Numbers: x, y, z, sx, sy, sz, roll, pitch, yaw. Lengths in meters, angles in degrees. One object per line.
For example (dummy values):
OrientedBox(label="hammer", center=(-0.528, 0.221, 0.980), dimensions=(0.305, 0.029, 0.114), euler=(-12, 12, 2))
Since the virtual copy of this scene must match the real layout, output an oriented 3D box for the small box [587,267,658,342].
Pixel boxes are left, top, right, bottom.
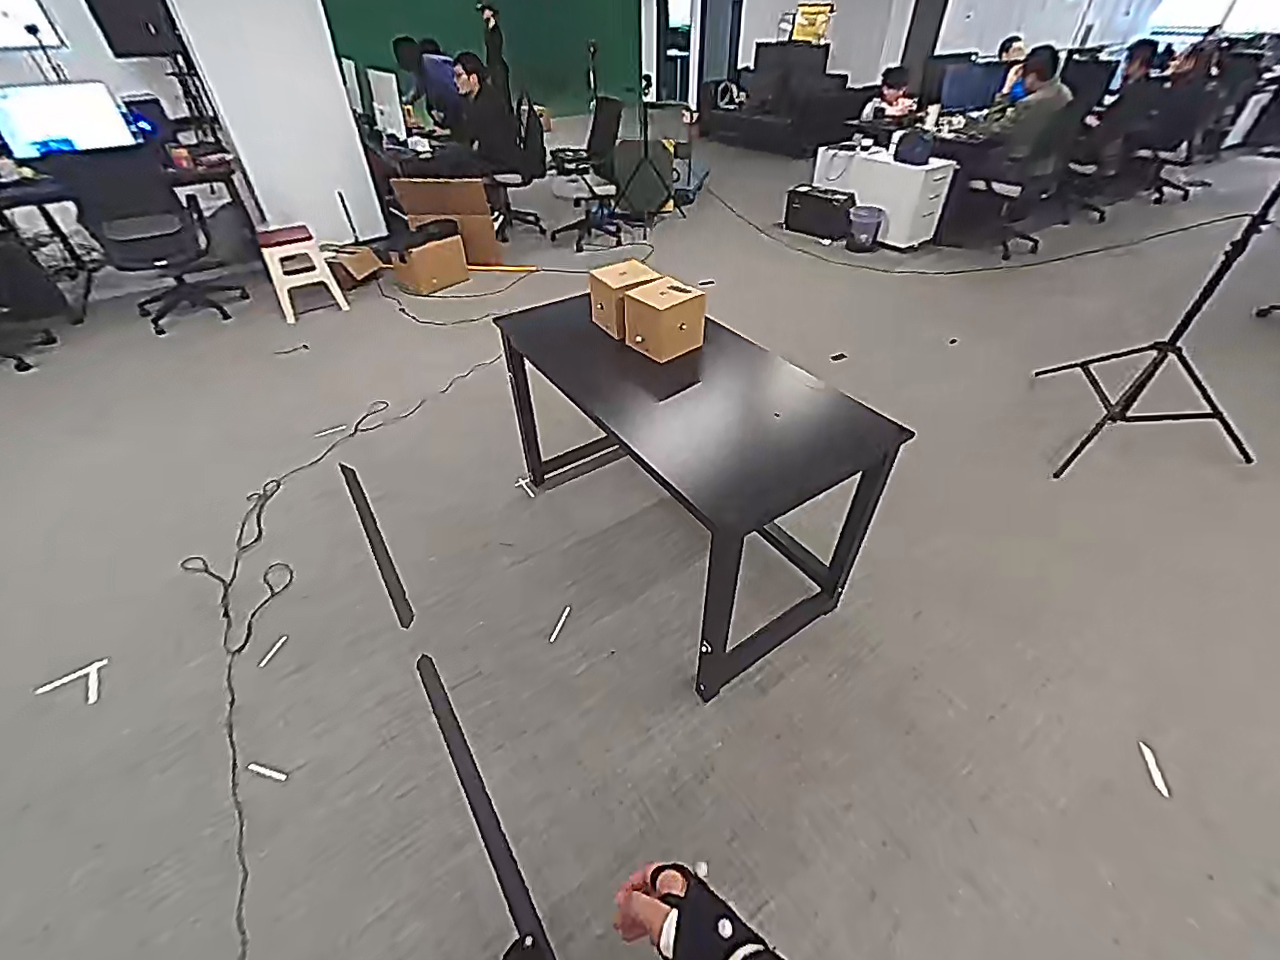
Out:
OrientedBox(label="small box", center=(-0.052, -0.563, 1.737), dimensions=(0.179, 0.176, 0.168), euler=(-23, 46, -23))
